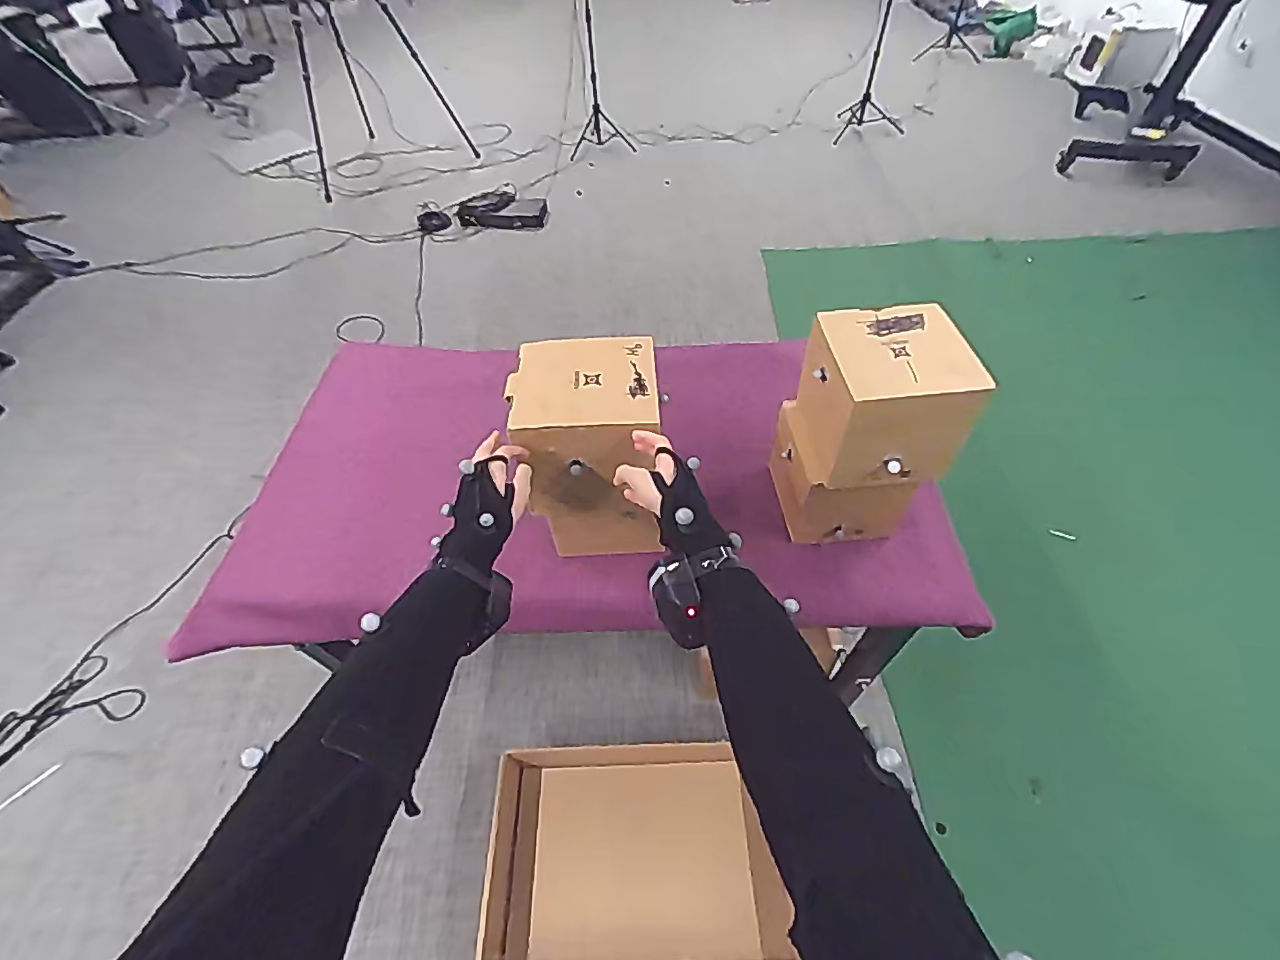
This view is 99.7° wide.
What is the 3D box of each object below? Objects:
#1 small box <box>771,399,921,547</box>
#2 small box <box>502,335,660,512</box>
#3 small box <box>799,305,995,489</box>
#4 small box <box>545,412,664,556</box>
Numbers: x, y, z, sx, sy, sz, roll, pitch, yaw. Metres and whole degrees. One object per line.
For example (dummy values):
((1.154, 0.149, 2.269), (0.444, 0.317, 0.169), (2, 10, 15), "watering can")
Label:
((0.314, -0.014, 0.861), (0.168, 0.176, 0.179), (-5, 50, 1), "small box")
((-0.066, -0.070, 0.715), (0.179, 0.176, 0.168), (-3, 50, 1), "small box")
((0.322, -0.110, 0.726), (0.168, 0.176, 0.179), (-5, 50, 1), "small box")
((-0.052, 0.008, 0.864), (0.179, 0.176, 0.168), (-3, 50, 1), "small box")
